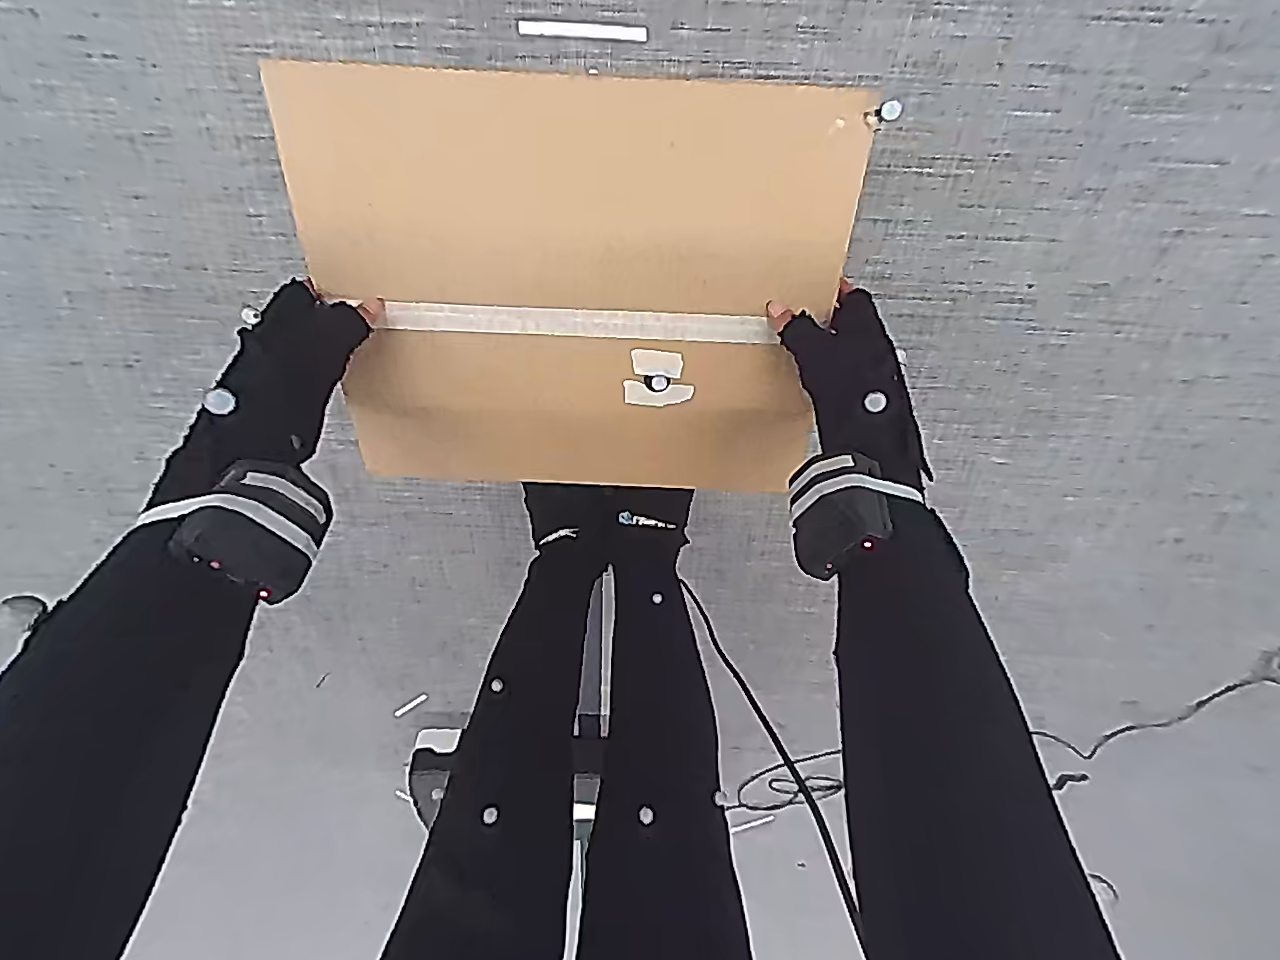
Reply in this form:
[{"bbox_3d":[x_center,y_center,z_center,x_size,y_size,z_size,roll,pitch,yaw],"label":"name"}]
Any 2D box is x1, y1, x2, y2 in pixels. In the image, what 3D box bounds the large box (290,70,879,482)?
[{"bbox_3d":[-0.042,-0.210,0.563,0.408,0.320,0.320,2,123,-1],"label":"large box"}]
